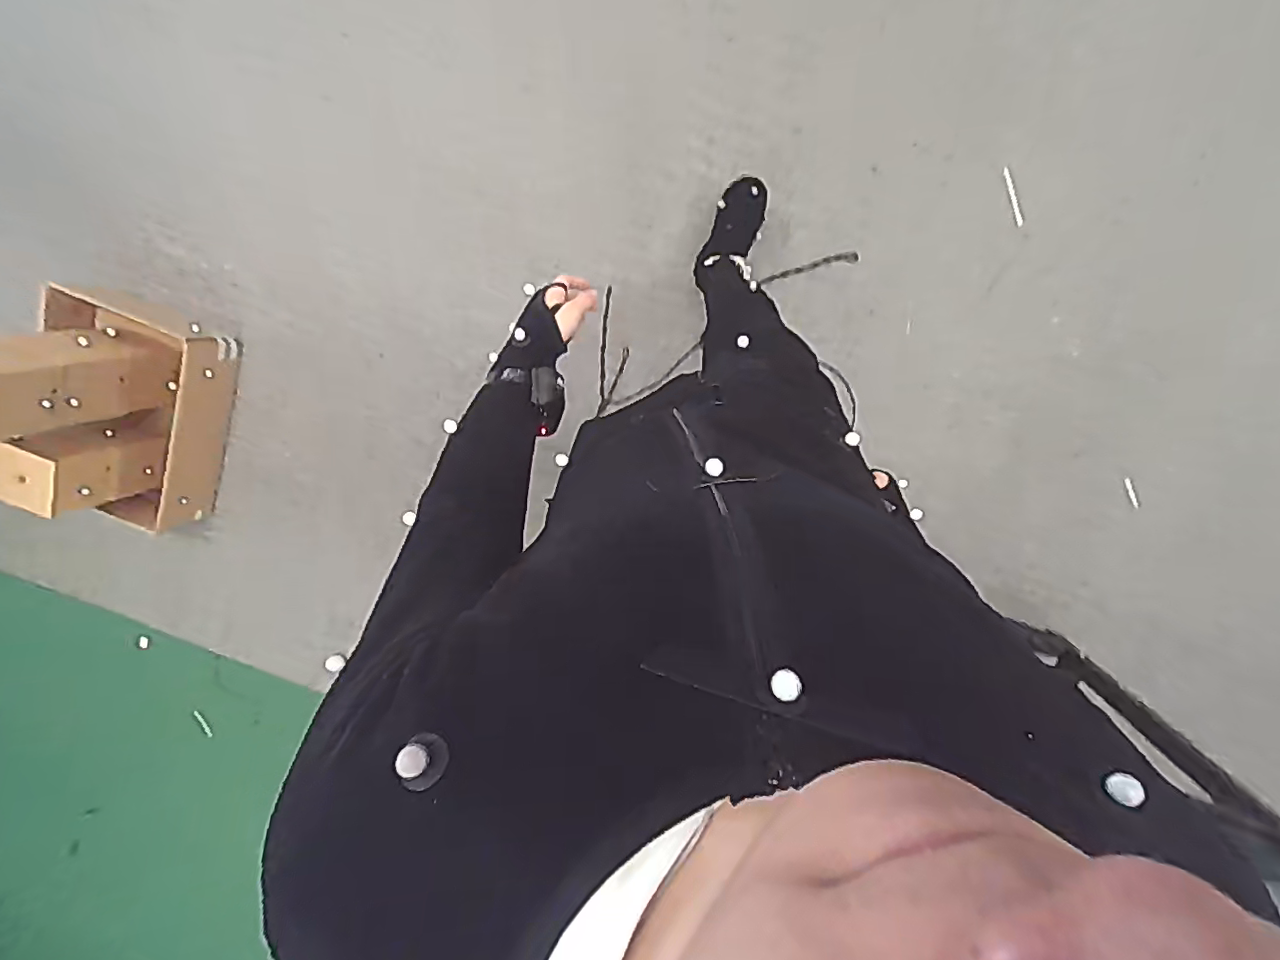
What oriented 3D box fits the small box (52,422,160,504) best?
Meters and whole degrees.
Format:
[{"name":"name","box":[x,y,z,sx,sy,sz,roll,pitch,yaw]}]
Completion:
[{"name":"small box","box":[-1.548,-0.056,1.561,0.179,0.176,0.168,22,105,-2]}]

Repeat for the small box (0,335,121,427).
[{"name":"small box","box":[-1.452,-0.250,1.333,0.179,0.176,0.168,23,108,-2]}]

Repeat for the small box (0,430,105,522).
[{"name":"small box","box":[-1.555,-0.018,1.404,0.179,0.176,0.168,22,106,-2]}]
